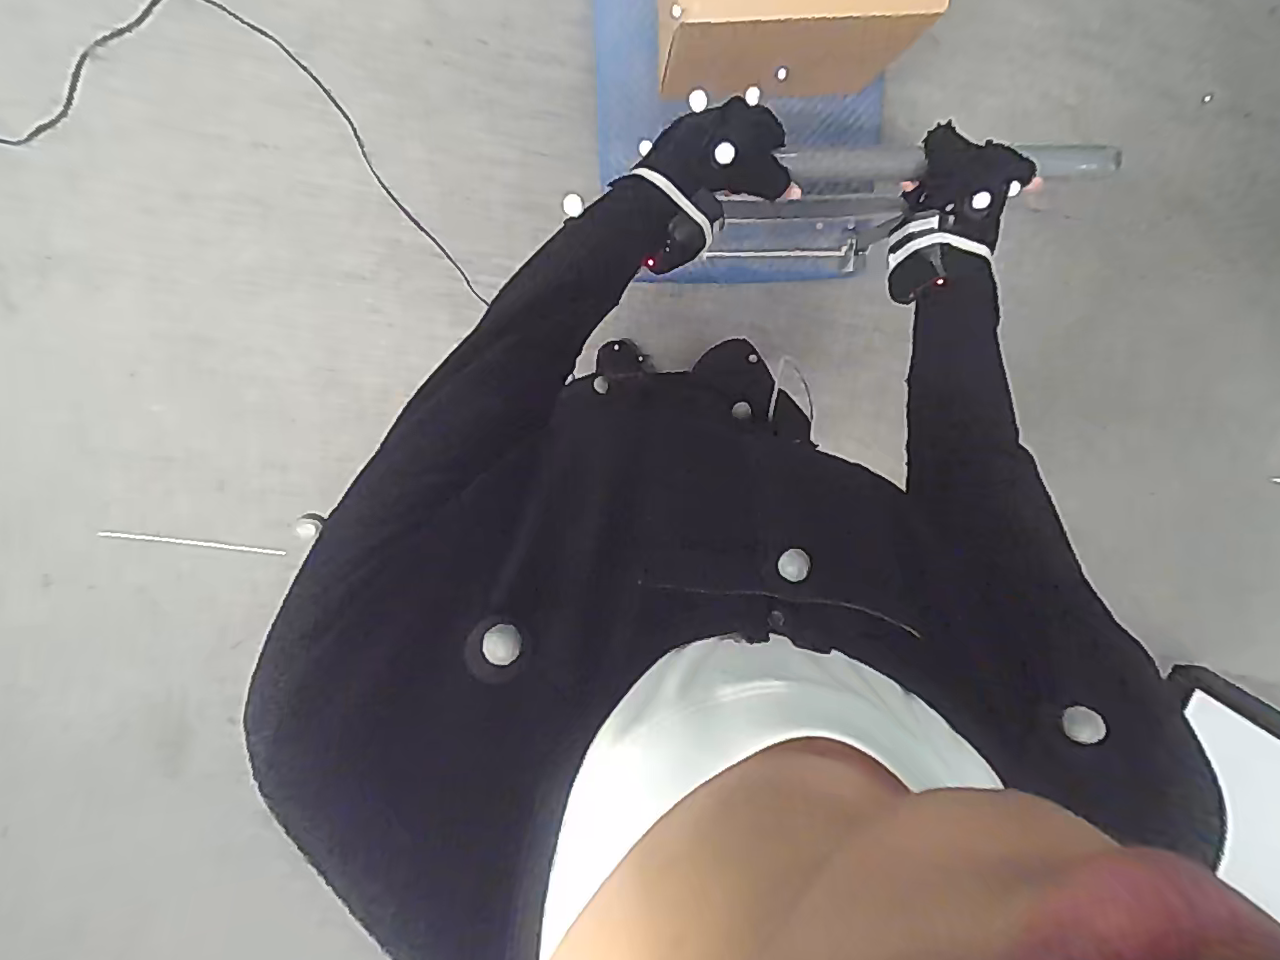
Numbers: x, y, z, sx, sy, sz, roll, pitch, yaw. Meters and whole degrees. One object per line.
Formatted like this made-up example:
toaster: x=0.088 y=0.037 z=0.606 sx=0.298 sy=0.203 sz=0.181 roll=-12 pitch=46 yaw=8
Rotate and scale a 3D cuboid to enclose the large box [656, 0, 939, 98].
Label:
large box: x=0.236 y=-0.879 z=0.902 sx=0.408 sy=0.320 sz=0.320 roll=-4 pitch=107 yaw=-1
